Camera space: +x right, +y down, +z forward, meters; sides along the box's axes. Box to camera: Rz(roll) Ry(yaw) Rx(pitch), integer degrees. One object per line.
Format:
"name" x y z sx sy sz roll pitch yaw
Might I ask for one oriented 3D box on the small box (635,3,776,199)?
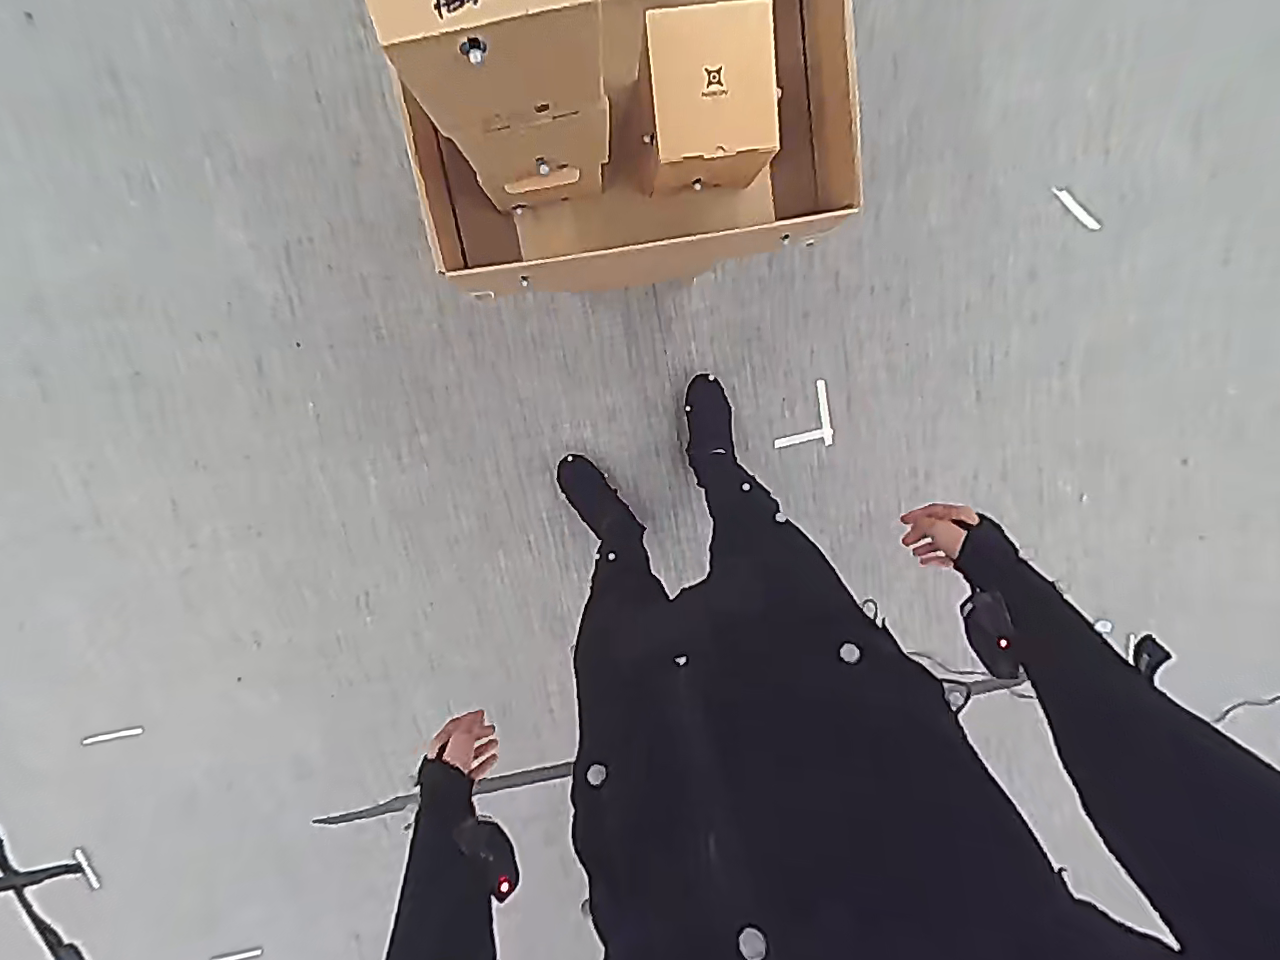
"small box" 0.086 -0.530 0.779 0.168 0.176 0.179 -8 104 -1

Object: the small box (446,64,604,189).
"small box" -0.139 -0.460 0.610 0.168 0.176 0.179 -13 104 -1

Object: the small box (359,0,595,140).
"small box" -0.135 -0.423 0.449 0.168 0.176 0.179 -13 102 -1
